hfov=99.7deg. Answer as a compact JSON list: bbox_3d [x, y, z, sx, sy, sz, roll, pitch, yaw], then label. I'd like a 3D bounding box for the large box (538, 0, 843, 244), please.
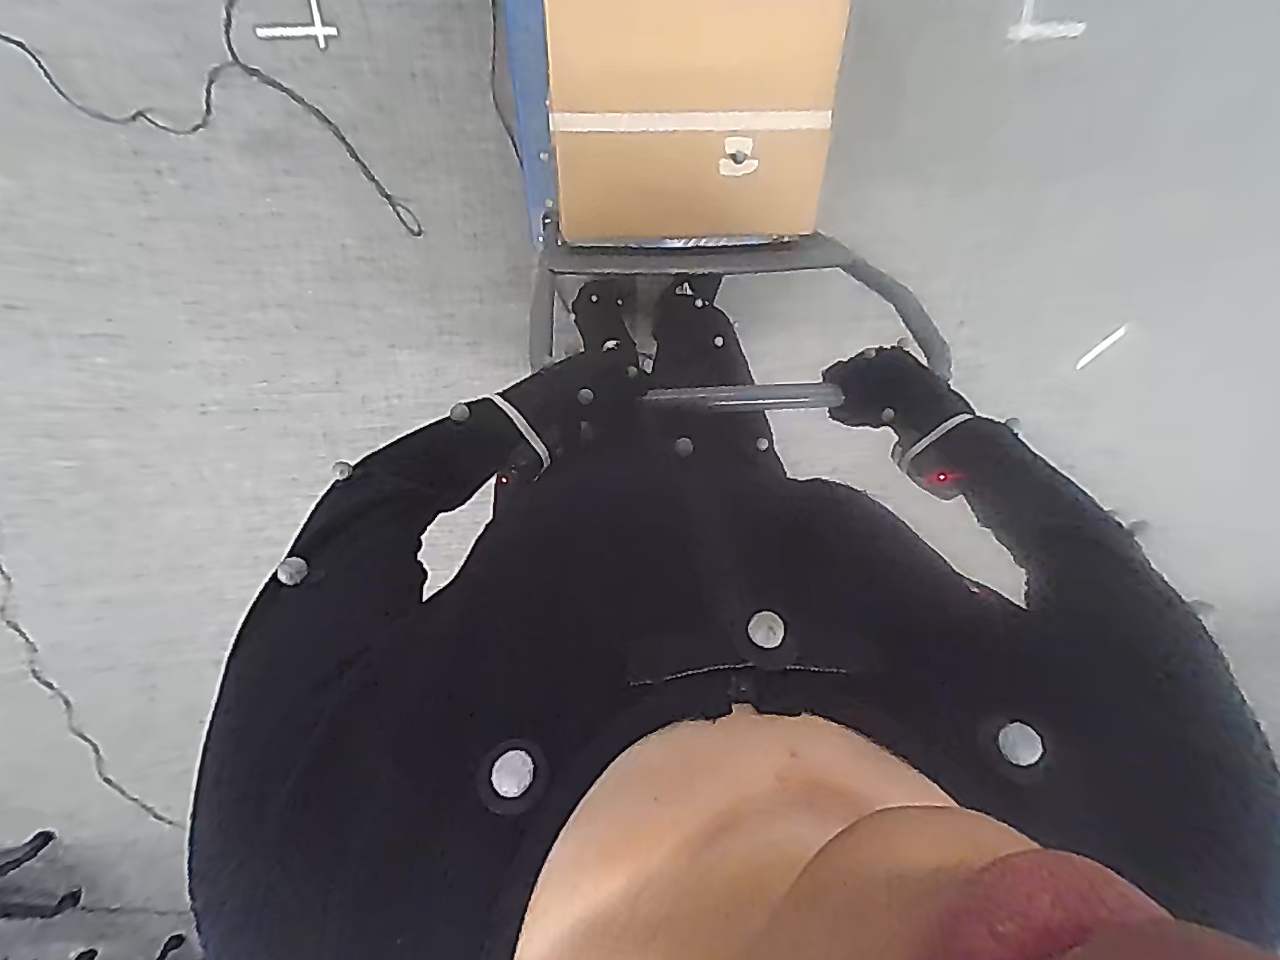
[{"bbox_3d":[0.055,-0.593,0.892,0.408,0.320,0.320,-4,126,-5],"label":"large box"}]
